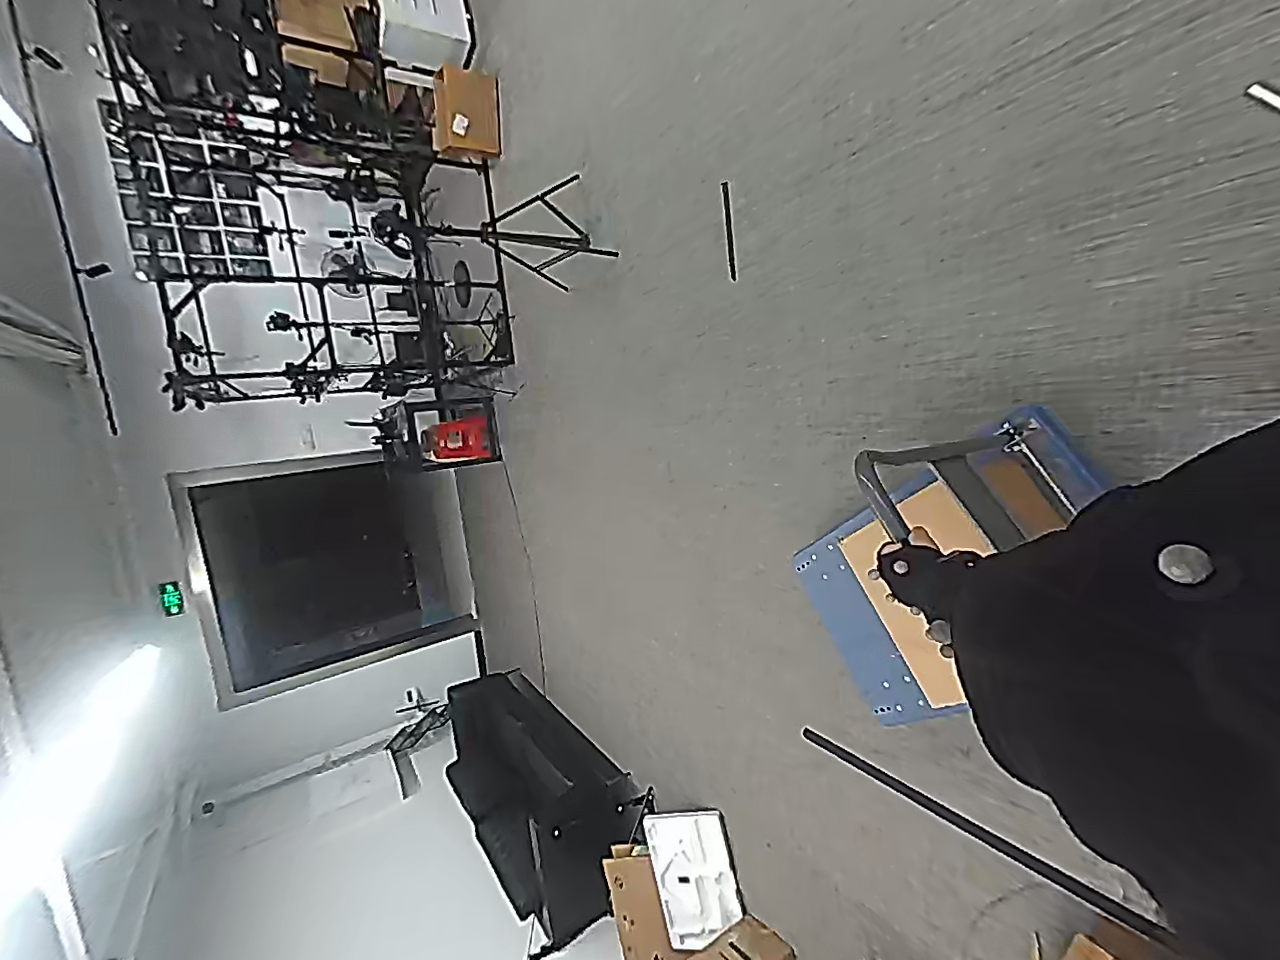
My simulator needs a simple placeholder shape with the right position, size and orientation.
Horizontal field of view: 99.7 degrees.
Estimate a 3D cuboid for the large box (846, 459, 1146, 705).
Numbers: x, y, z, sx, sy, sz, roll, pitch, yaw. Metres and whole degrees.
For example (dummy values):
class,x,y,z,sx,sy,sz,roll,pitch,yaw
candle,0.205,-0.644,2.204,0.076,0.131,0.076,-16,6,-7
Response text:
class,x,y,z,sx,sy,sz,roll,pitch,yaw
large box,0.749,0.214,1.178,0.320,0.320,0.408,-52,55,50
